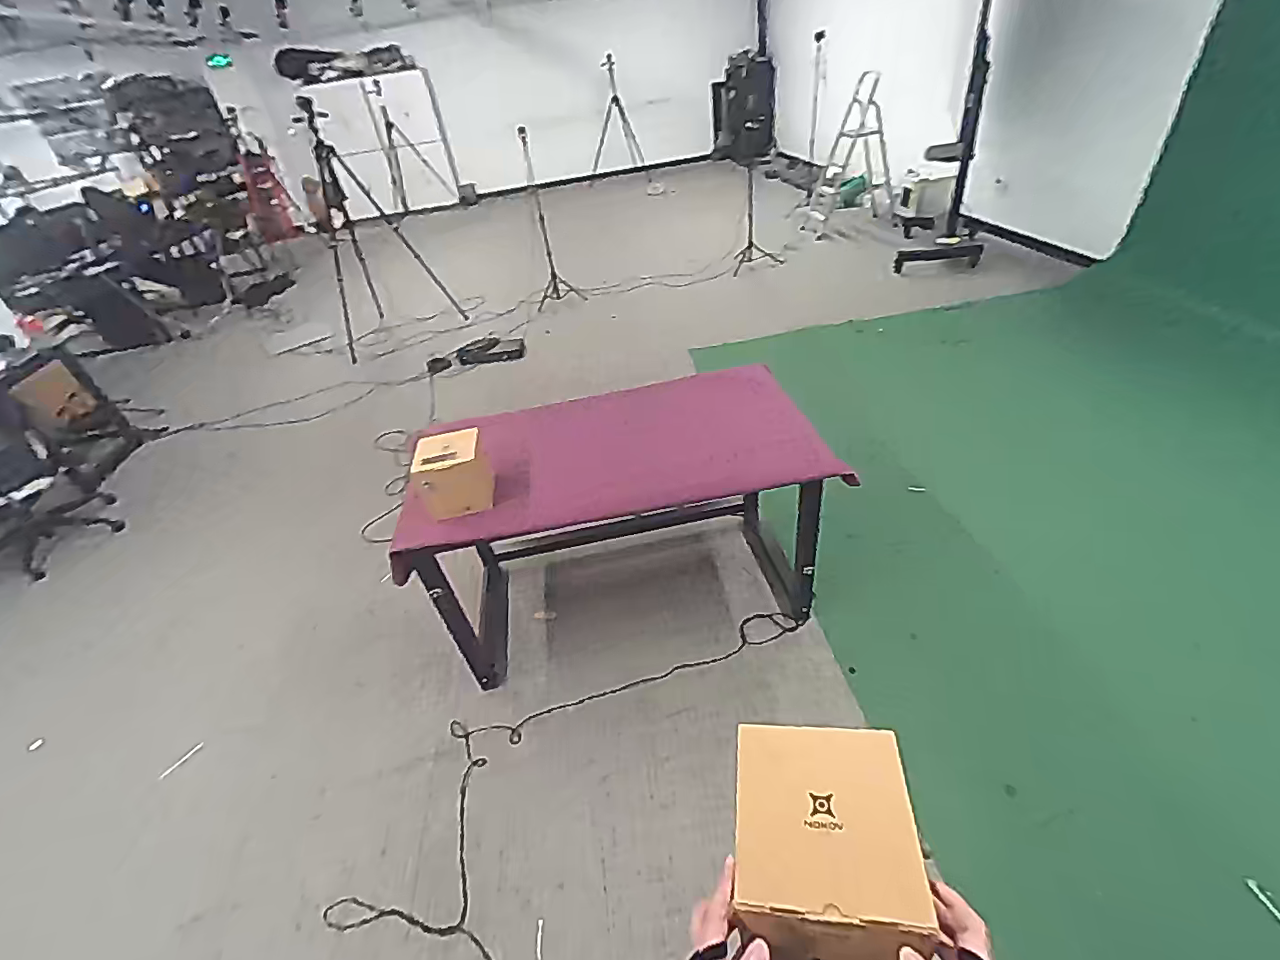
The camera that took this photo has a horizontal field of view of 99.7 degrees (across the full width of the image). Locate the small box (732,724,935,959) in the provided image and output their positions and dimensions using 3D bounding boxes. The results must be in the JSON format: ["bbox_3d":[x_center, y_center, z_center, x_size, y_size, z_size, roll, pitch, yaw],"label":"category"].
[{"bbox_3d":[0.186,0.386,0.565,0.168,0.176,0.179,-3,34,13],"label":"small box"}]
